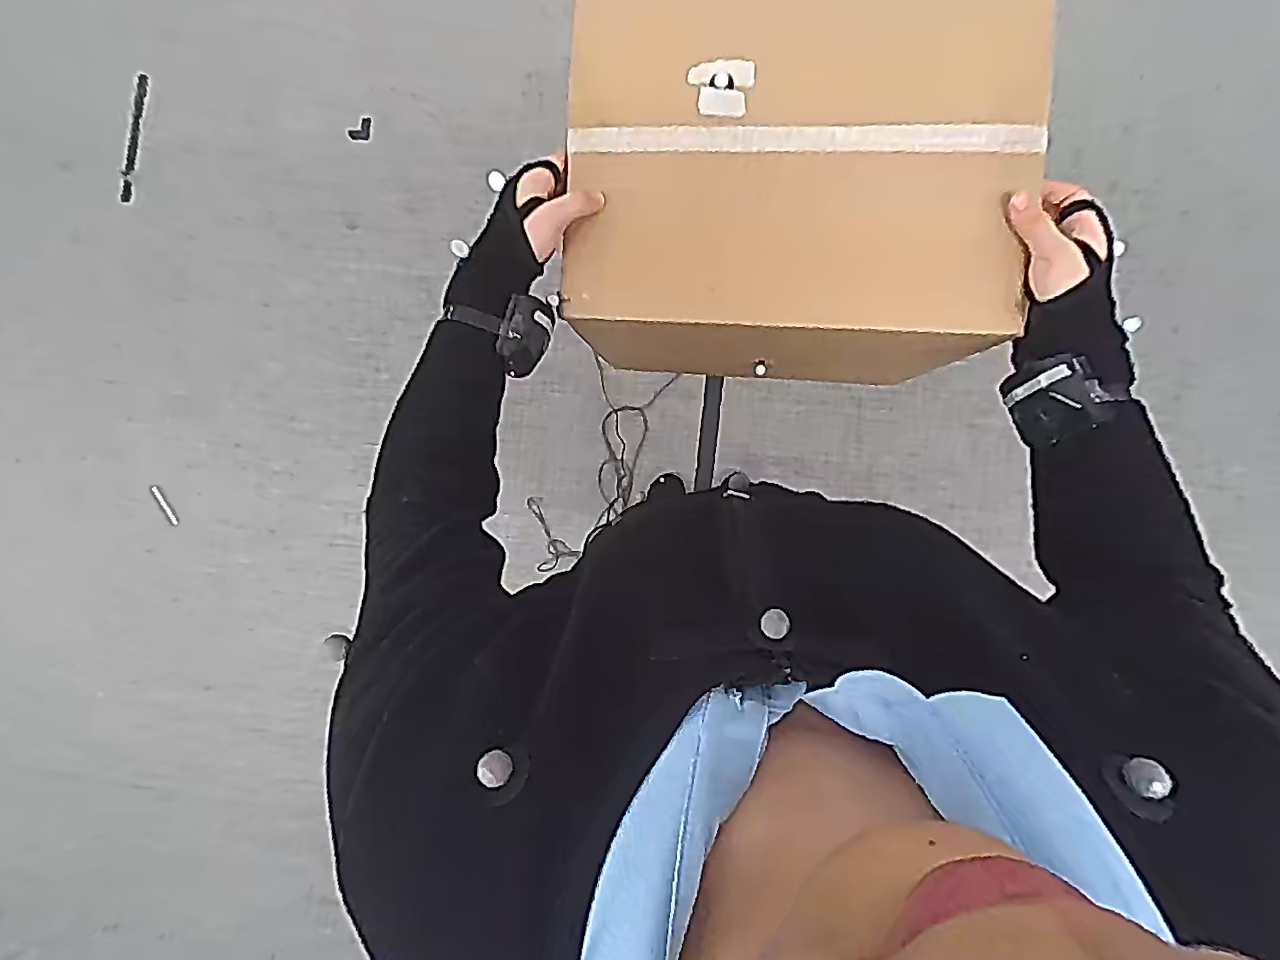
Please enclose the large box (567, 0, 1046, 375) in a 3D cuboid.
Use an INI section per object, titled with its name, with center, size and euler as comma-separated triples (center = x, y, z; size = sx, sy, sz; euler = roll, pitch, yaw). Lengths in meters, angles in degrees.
[large box]
center = 0.156, -0.299, 0.627
size = 0.408, 0.320, 0.320
euler = 4, 92, 8
